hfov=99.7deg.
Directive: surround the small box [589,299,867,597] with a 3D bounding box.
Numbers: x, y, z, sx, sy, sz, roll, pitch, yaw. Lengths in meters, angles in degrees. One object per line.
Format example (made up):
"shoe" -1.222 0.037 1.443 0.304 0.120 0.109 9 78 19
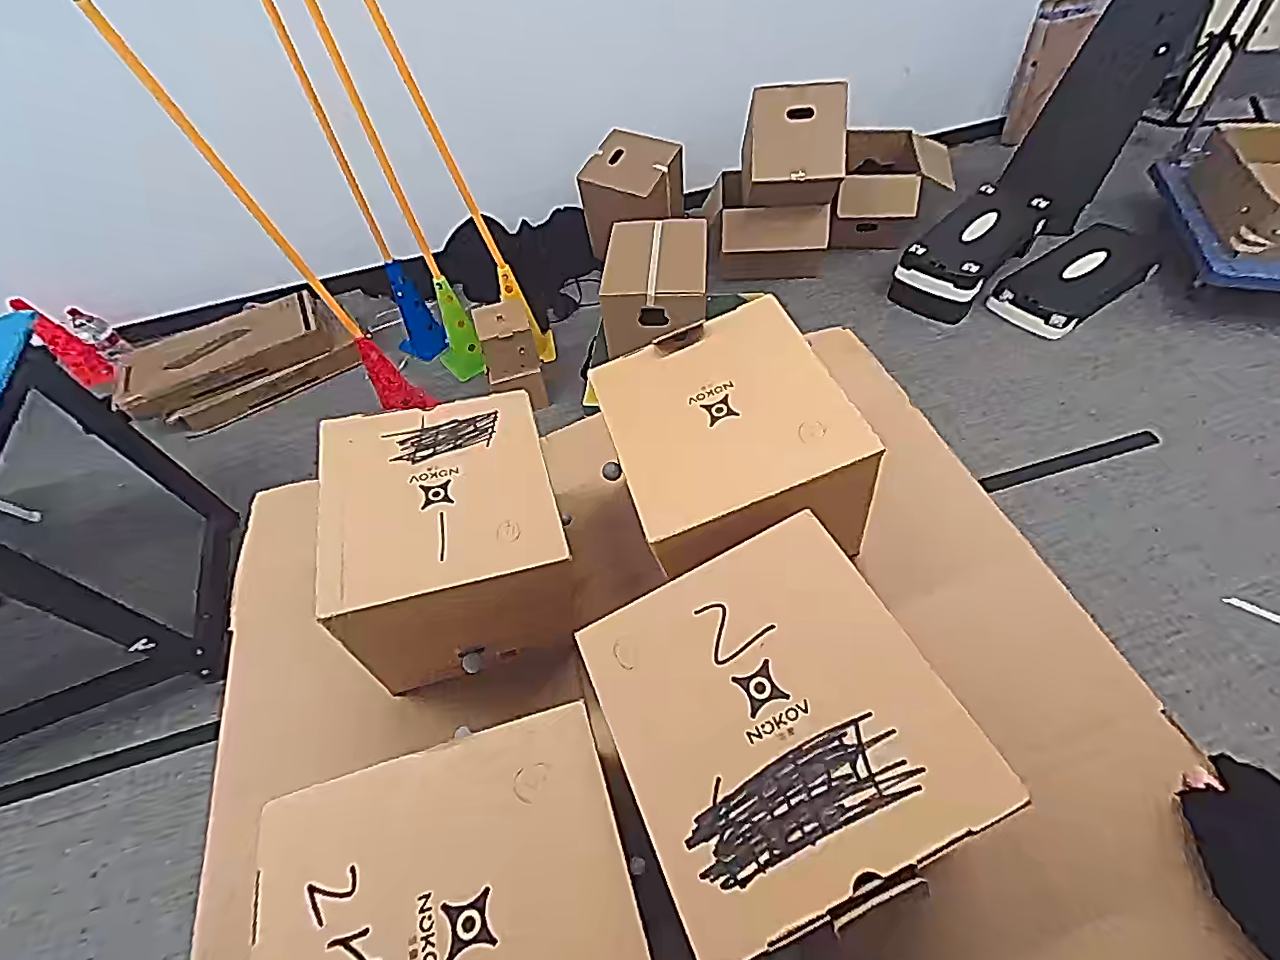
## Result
"small box" 0.075 -0.016 0.474 0.168 0.176 0.179 -22 54 2
